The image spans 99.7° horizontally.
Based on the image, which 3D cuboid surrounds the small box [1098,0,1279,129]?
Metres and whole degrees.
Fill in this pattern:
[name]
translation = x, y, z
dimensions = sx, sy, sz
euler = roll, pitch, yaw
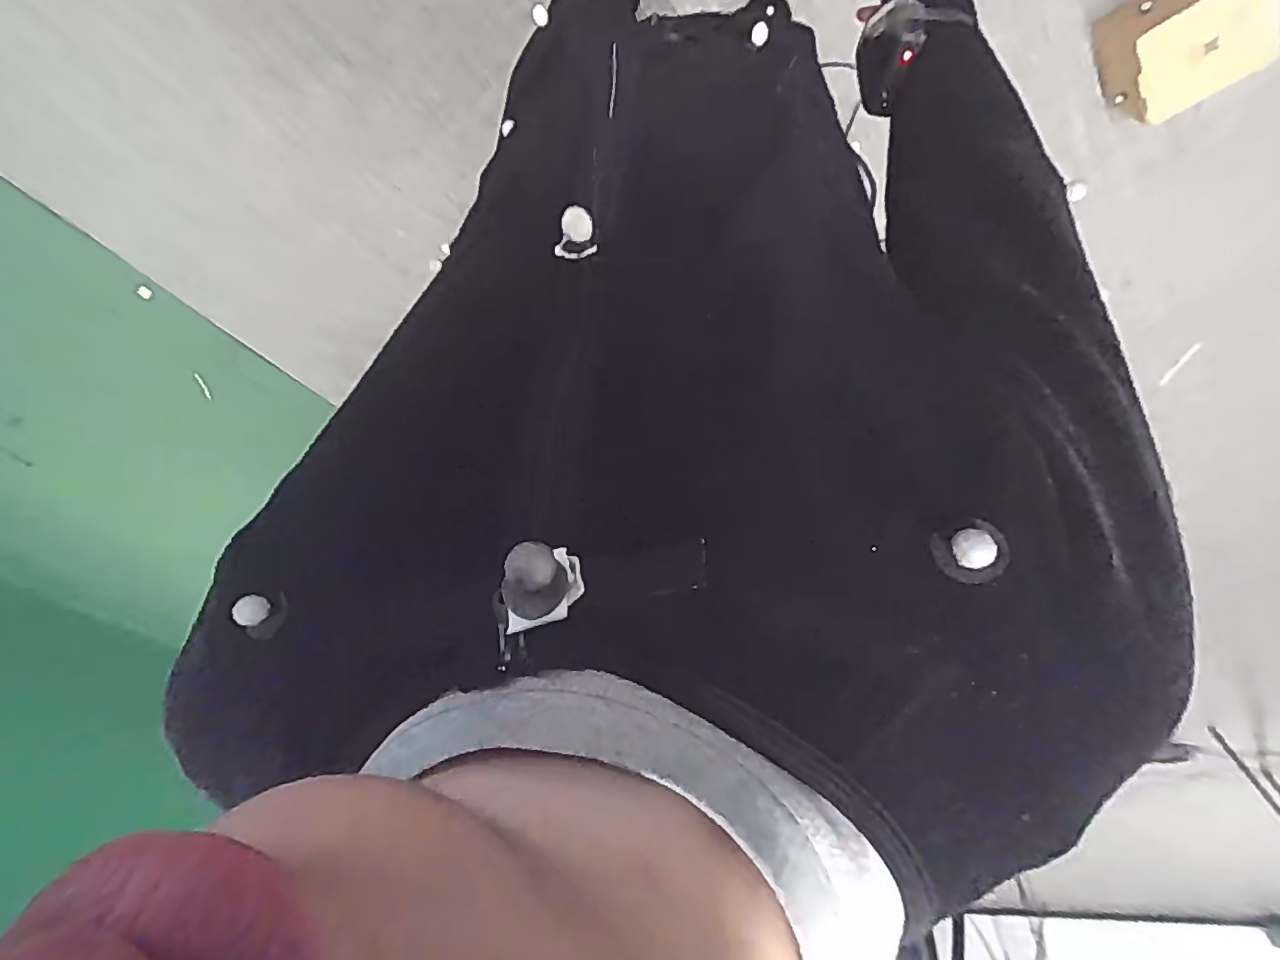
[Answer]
[small box]
translation = 0.955, -0.776, 0.957
dimensions = 0.179, 0.176, 0.168
euler = -26, 127, 32
